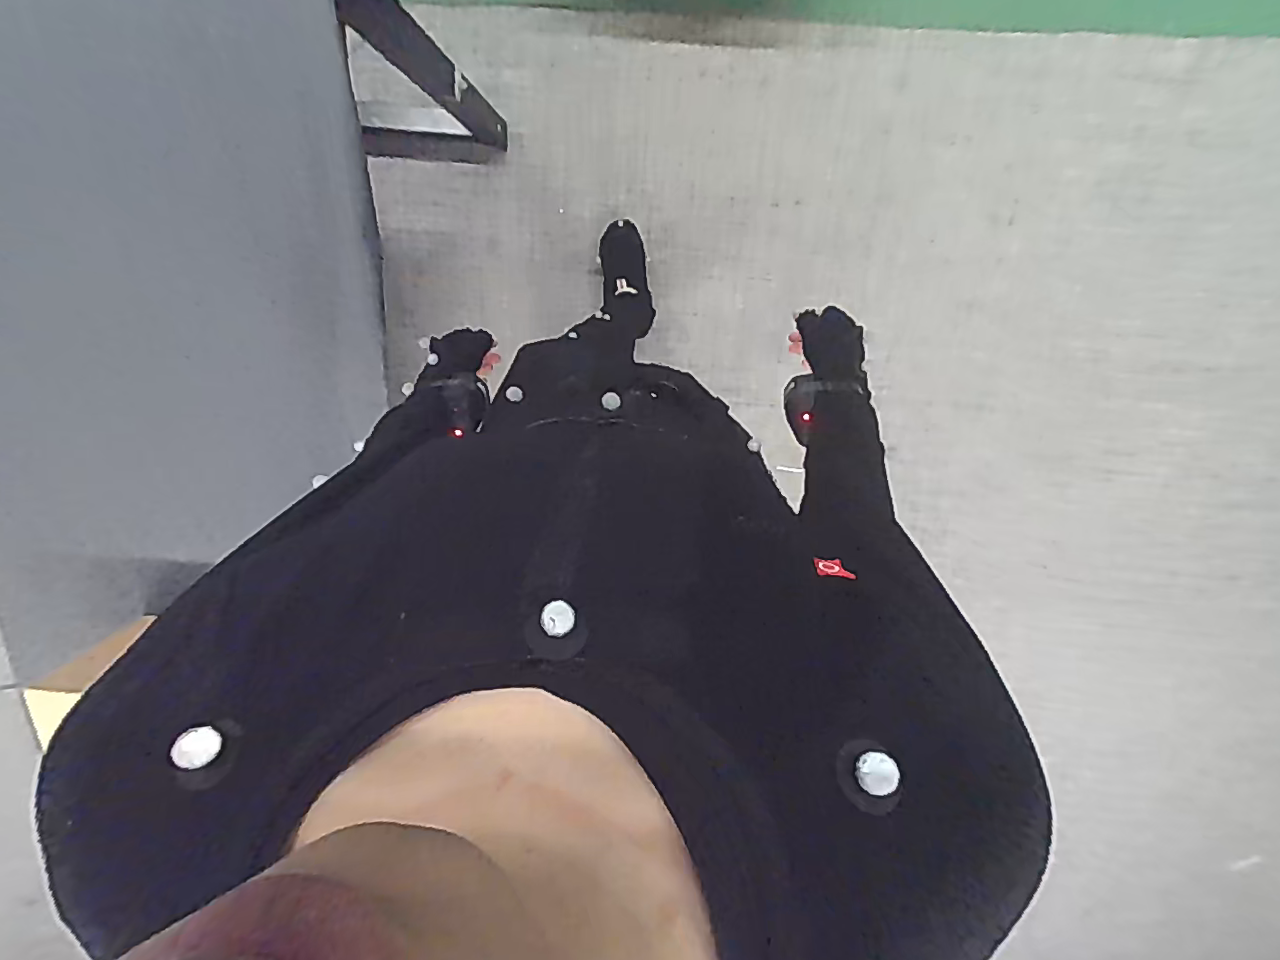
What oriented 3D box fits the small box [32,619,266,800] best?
[{"bbox_3d":[-0.669,0.315,0.767,0.179,0.176,0.168,4,108,2],"label":"small box"}]
